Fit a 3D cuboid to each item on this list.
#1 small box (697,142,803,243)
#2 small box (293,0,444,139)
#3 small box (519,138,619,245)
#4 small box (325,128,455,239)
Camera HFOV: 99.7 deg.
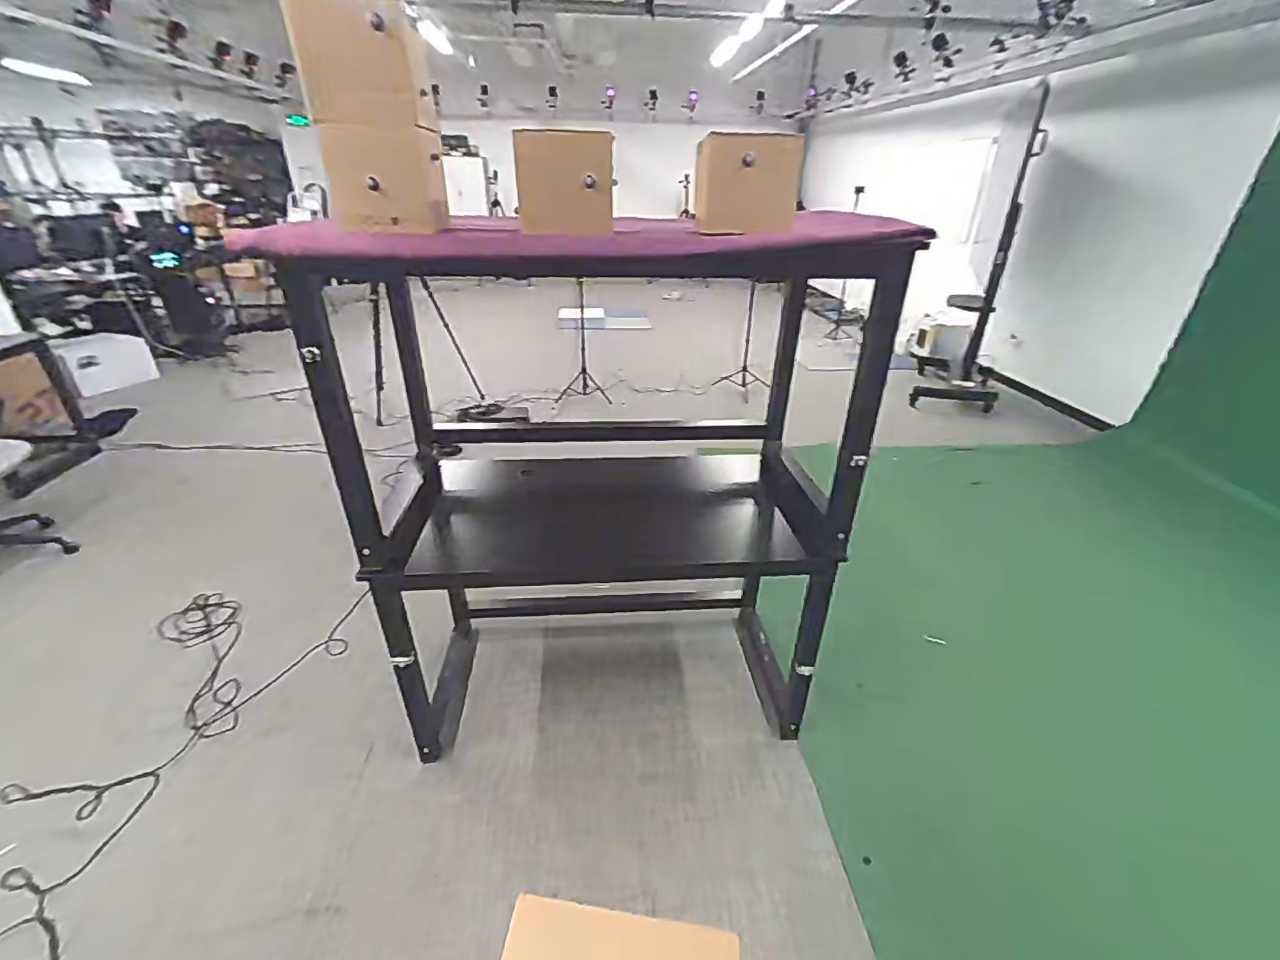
[{"bbox_3d":[0.212,-0.575,1.096,0.179,0.176,0.168,0,26,-3],"label":"small box"},{"bbox_3d":[-0.452,-0.691,0.932,0.179,0.176,0.168,-2,29,-8],"label":"small box"},{"bbox_3d":[-0.133,-0.555,1.047,0.179,0.176,0.168,-2,28,-5],"label":"small box"},{"bbox_3d":[-0.452,-0.549,1.011,0.168,0.176,0.179,0,28,-6],"label":"small box"}]
